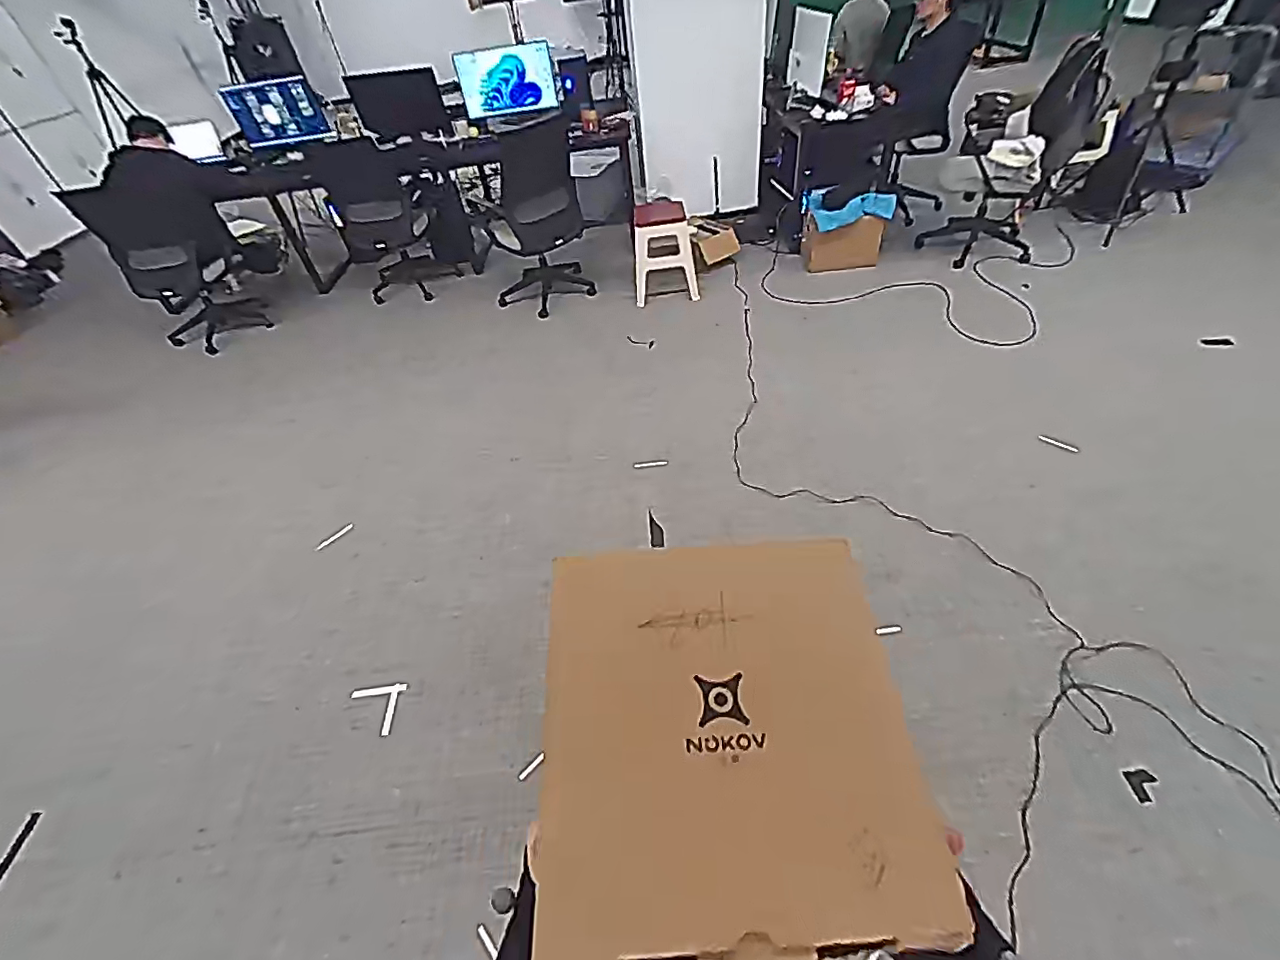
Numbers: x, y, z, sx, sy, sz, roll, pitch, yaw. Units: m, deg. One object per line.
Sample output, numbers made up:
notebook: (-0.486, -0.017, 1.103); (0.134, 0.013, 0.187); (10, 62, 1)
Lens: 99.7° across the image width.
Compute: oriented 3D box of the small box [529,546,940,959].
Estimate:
small box: (0.036, 0.160, 0.324); (0.168, 0.176, 0.179); (-3, 51, -2)
